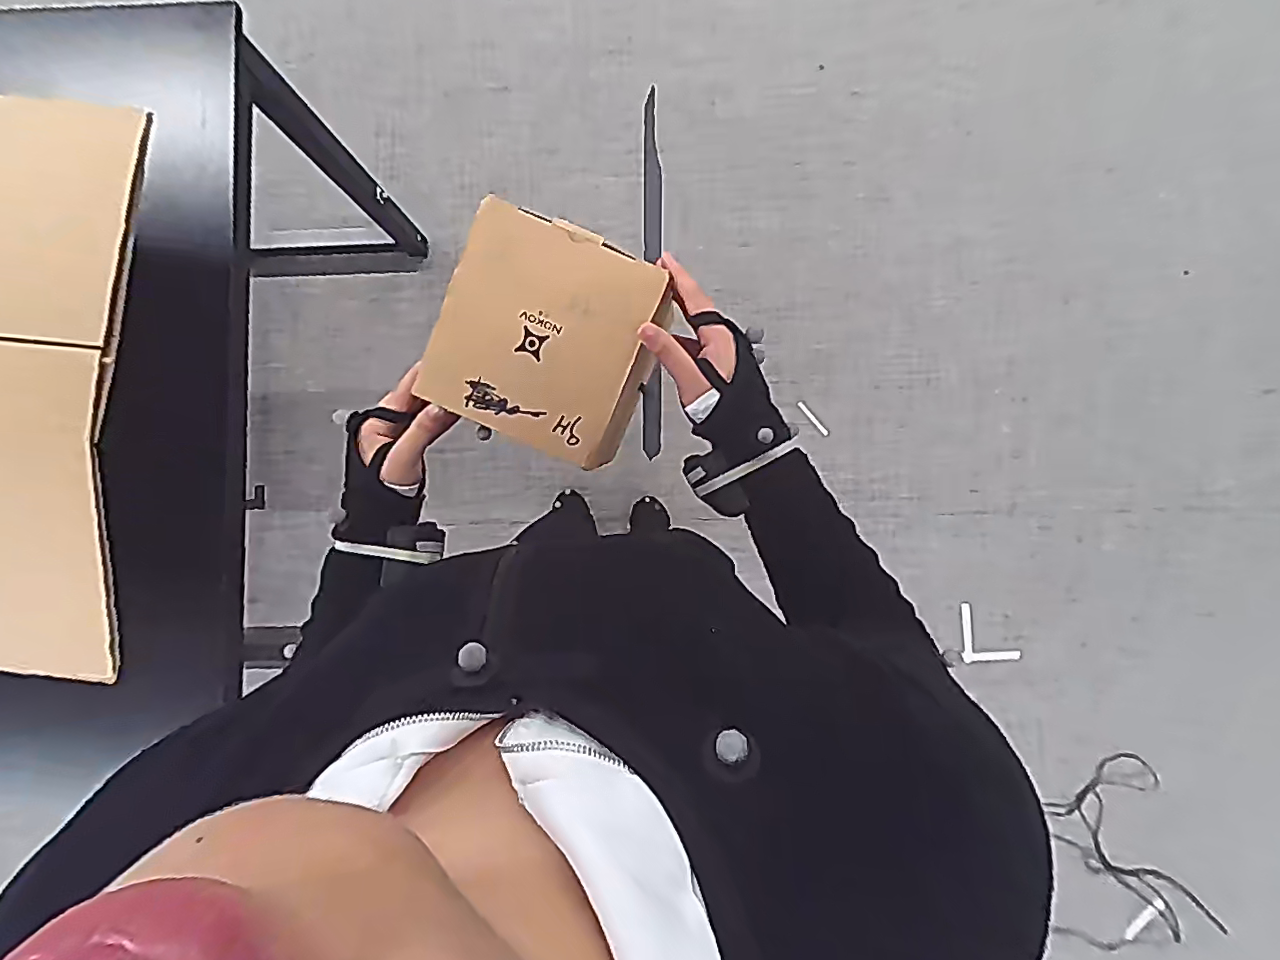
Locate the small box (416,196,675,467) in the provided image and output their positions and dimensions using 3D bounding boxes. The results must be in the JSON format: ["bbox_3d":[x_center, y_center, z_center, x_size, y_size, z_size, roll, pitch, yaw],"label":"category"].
[{"bbox_3d":[-0.076,-0.125,0.523,0.168,0.176,0.179,24,94,3],"label":"small box"}]
